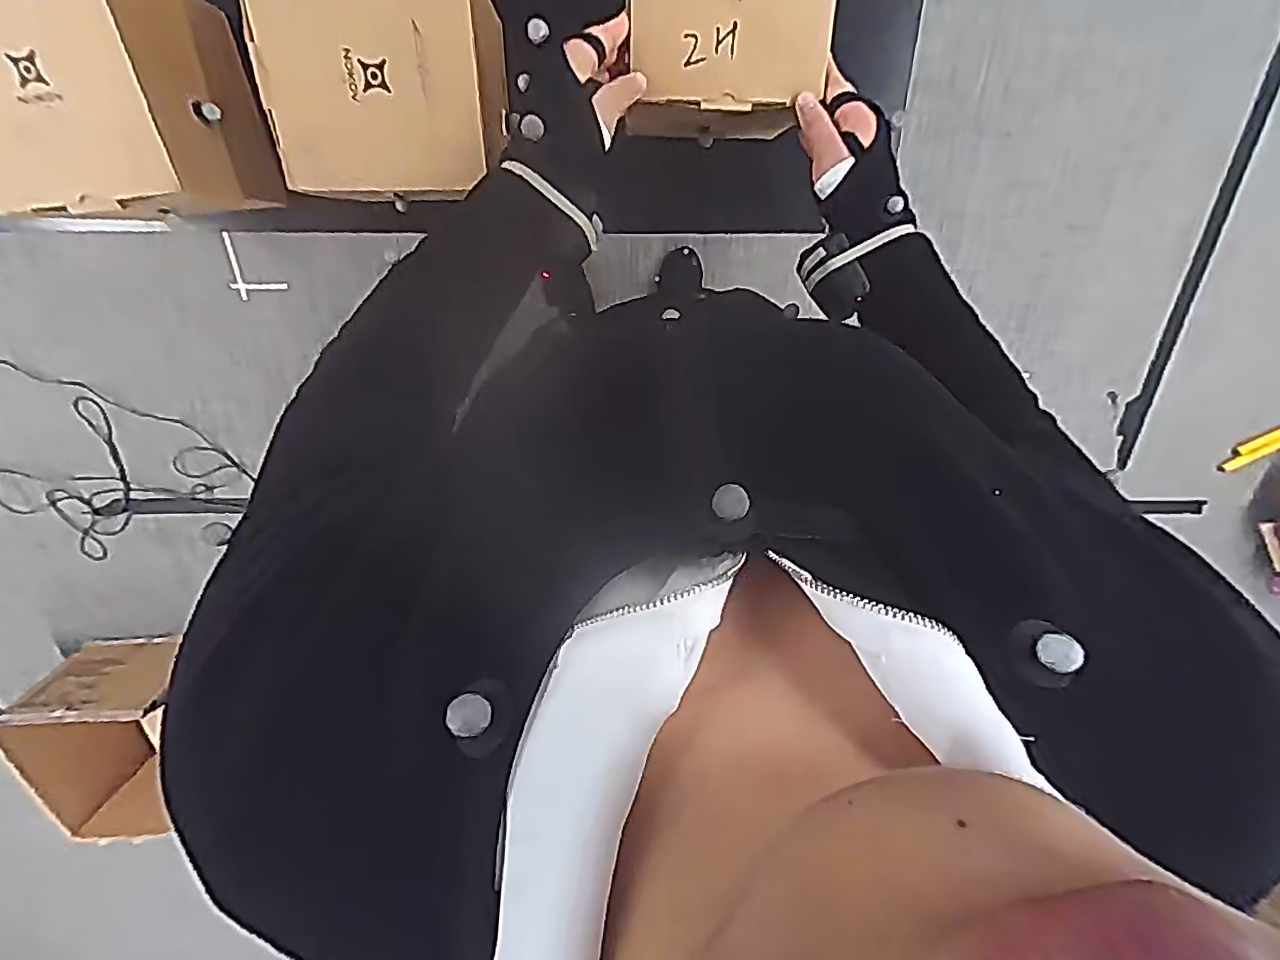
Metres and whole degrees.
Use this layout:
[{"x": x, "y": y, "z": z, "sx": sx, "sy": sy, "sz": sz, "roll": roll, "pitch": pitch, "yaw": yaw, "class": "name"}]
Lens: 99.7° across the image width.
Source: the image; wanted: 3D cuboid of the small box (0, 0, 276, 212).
[{"x": -0.483, "y": -0.352, "z": 0.498, "sx": 0.168, "sy": 0.176, "sz": 0.179, "roll": -7, "pitch": 115, "yaw": 0, "class": "small box"}]

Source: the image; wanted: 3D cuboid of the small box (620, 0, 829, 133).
[{"x": 0.066, "y": -0.435, "z": 0.491, "sx": 0.168, "sy": 0.176, "sz": 0.179, "roll": 0, "pitch": 115, "yaw": -2, "class": "small box"}]

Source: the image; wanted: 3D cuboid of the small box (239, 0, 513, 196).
[{"x": -0.226, "y": -0.365, "z": 0.508, "sx": 0.179, "sy": 0.176, "sz": 0.168, "roll": -1, "pitch": 115, "yaw": -3, "class": "small box"}]
